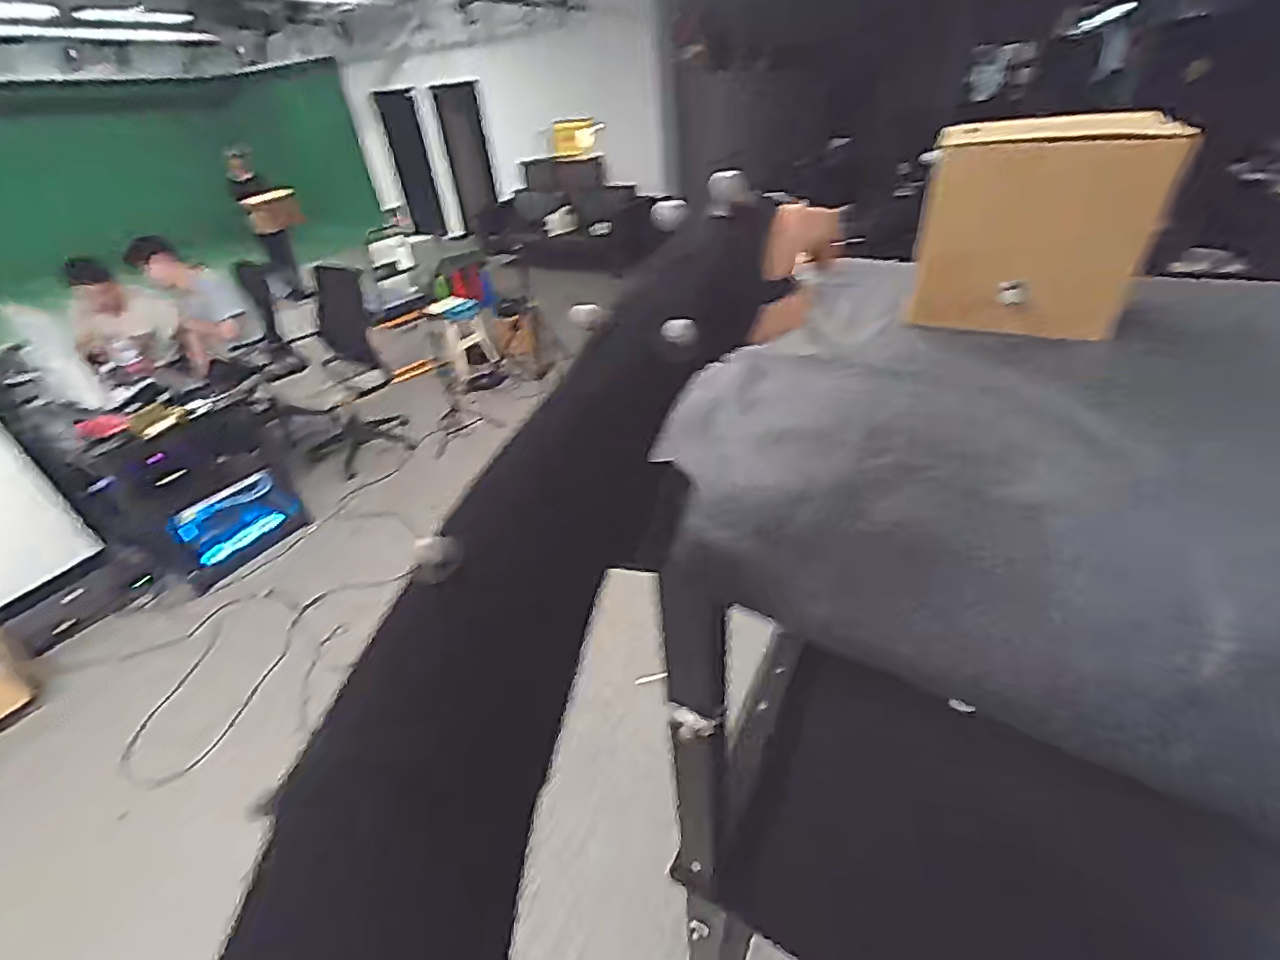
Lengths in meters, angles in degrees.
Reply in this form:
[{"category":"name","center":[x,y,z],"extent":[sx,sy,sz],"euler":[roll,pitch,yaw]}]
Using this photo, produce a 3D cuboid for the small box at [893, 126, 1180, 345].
[{"category":"small box","center":[0.376,-0.249,0.548],"extent":[0.179,0.176,0.168],"euler":[14,39,23]}]
